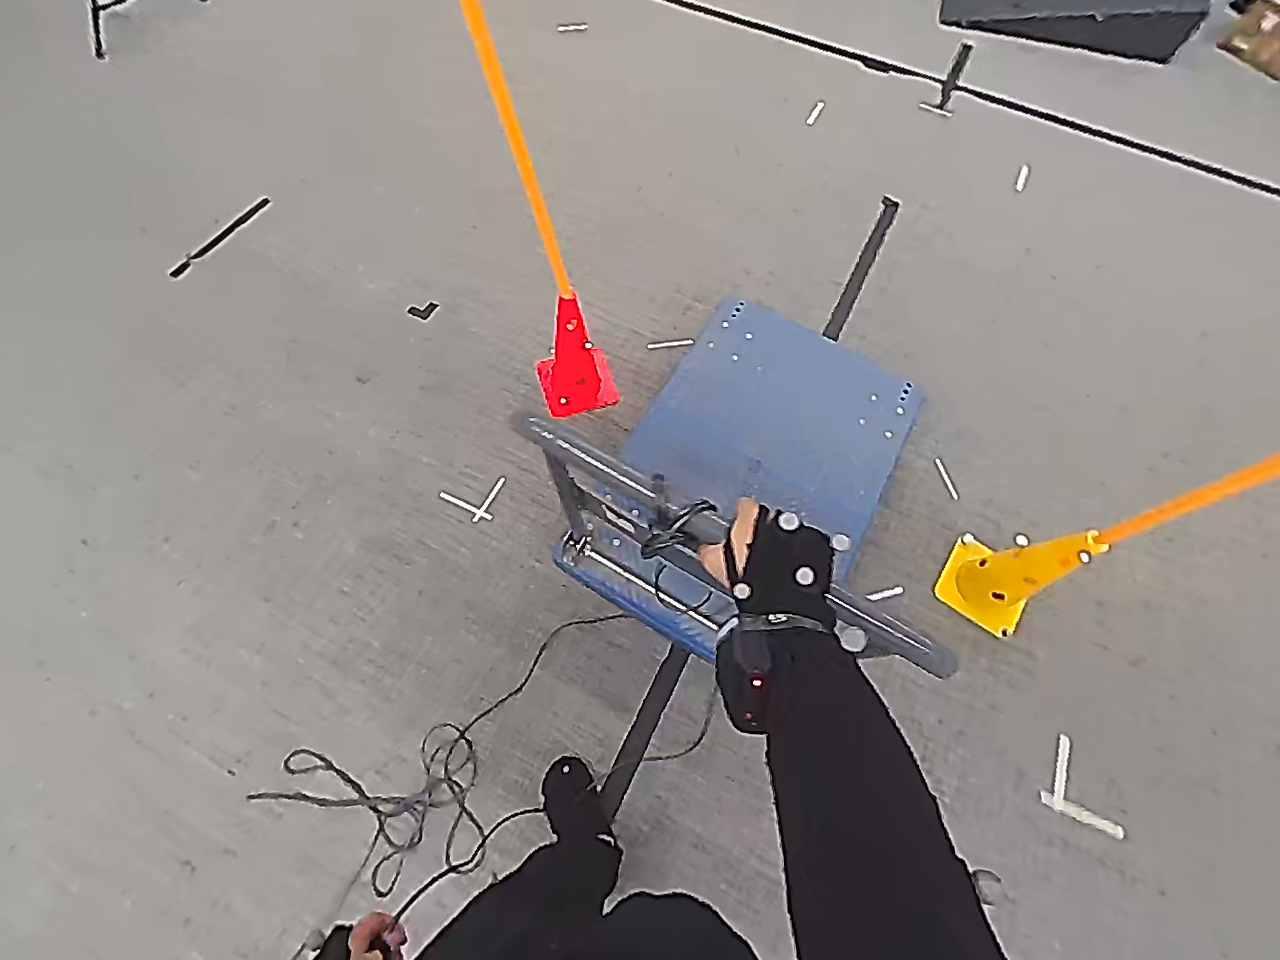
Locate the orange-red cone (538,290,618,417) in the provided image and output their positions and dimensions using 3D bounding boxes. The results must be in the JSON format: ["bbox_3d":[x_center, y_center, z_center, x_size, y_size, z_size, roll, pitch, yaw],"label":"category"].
[{"bbox_3d":[-0.168,-0.347,1.383,0.199,0.360,0.198,-15,68,-11],"label":"orange-red cone"}]
